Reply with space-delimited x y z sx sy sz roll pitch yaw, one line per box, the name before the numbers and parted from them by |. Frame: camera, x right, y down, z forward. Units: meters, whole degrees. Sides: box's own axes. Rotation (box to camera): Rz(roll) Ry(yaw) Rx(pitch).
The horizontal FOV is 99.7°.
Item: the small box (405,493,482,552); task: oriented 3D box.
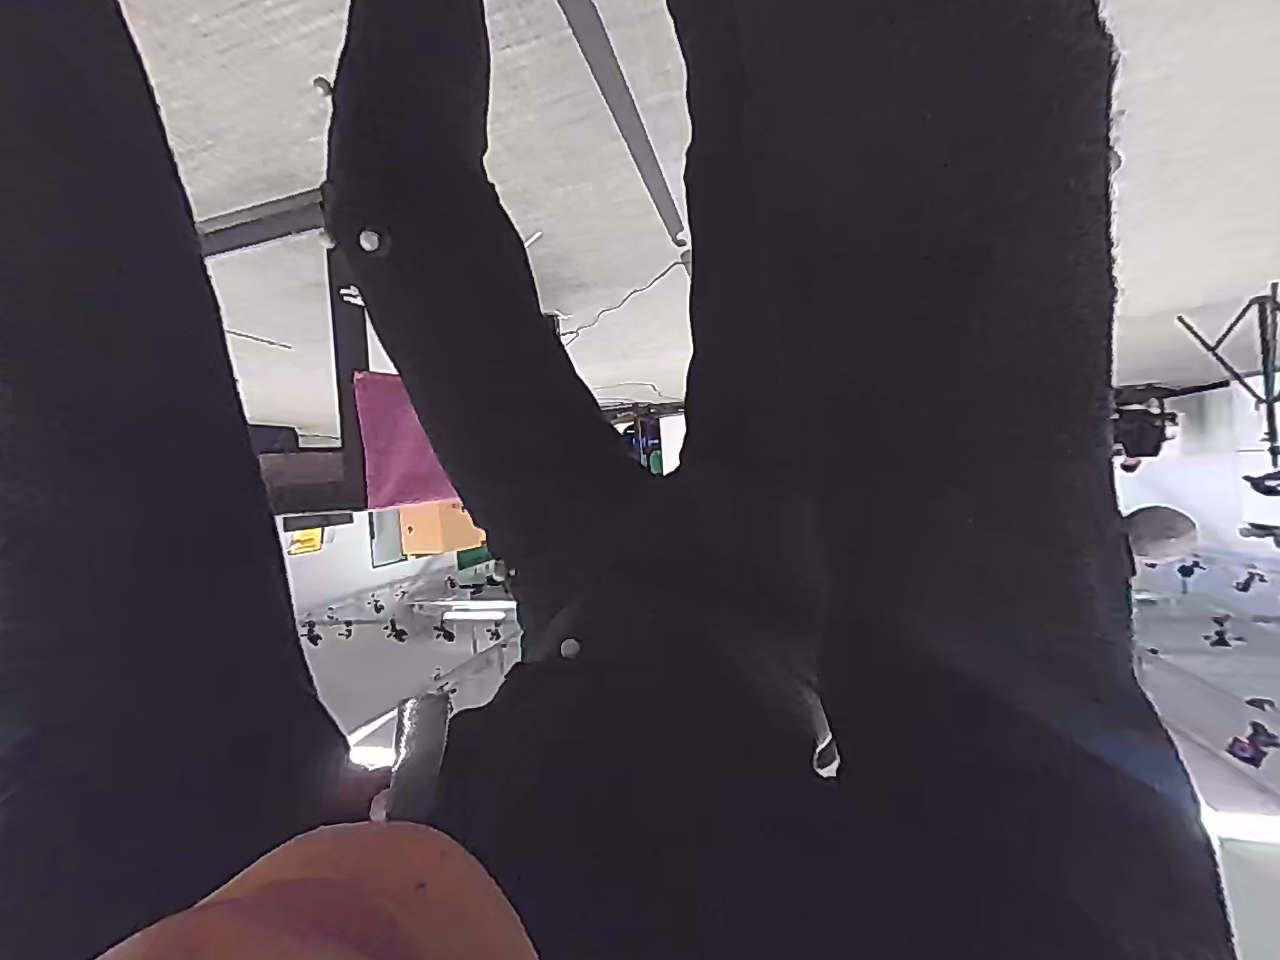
small box | -0.630 0.131 1.729 0.179 0.176 0.168 -4 -178 26
